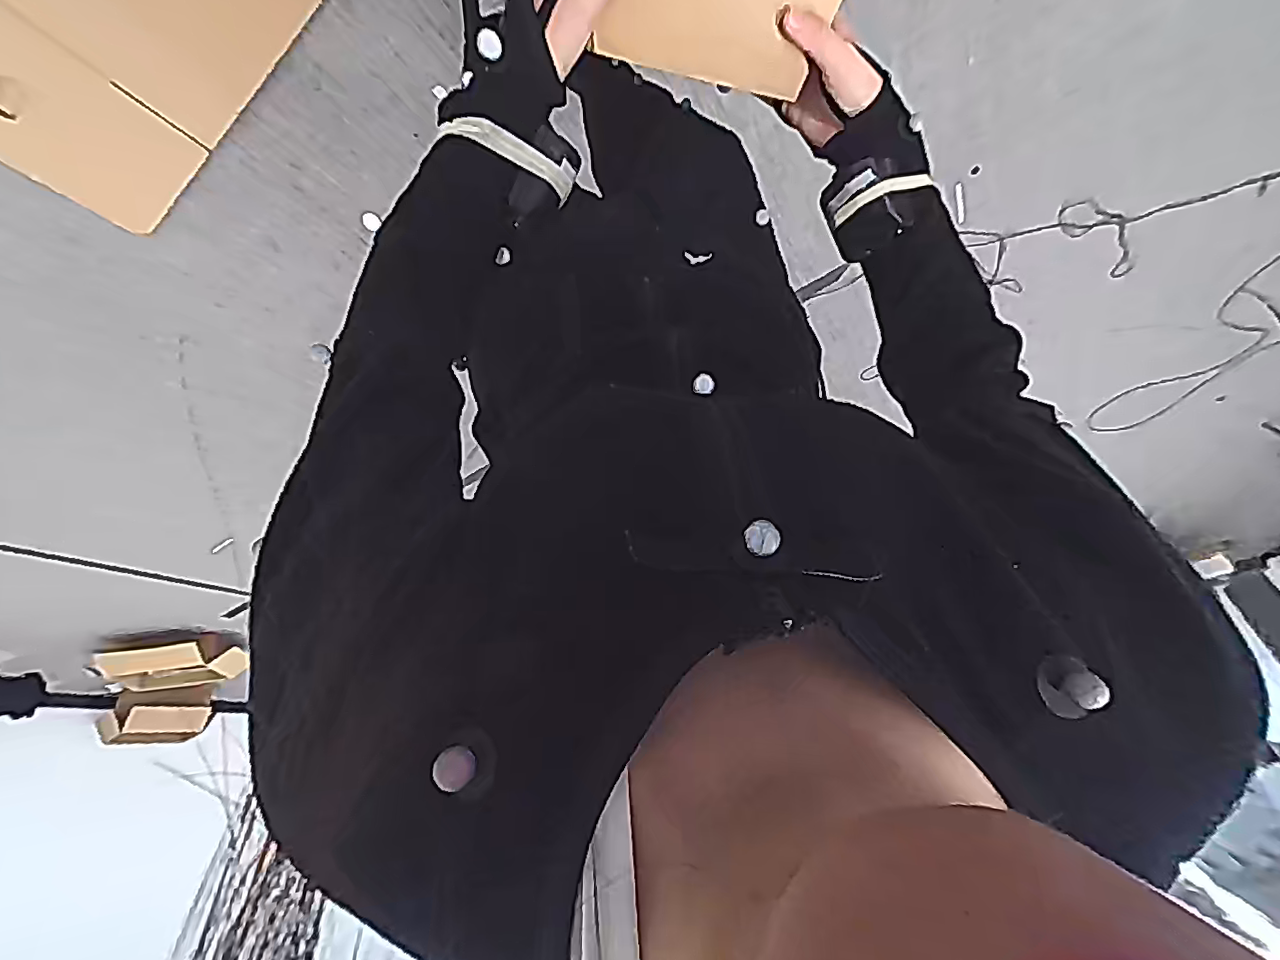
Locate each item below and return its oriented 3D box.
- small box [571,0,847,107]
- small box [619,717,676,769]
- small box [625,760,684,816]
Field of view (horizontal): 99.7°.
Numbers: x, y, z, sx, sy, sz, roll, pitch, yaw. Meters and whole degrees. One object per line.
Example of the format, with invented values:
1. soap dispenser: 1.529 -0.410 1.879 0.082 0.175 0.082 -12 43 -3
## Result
1. small box: 0.051 -0.407 0.380 0.179 0.176 0.168 -3 148 -22
2. small box: 0.030 1.100 2.267 0.168 0.176 0.179 -24 147 18
3. small box: 0.055 1.233 2.176 0.168 0.176 0.179 -24 146 18
